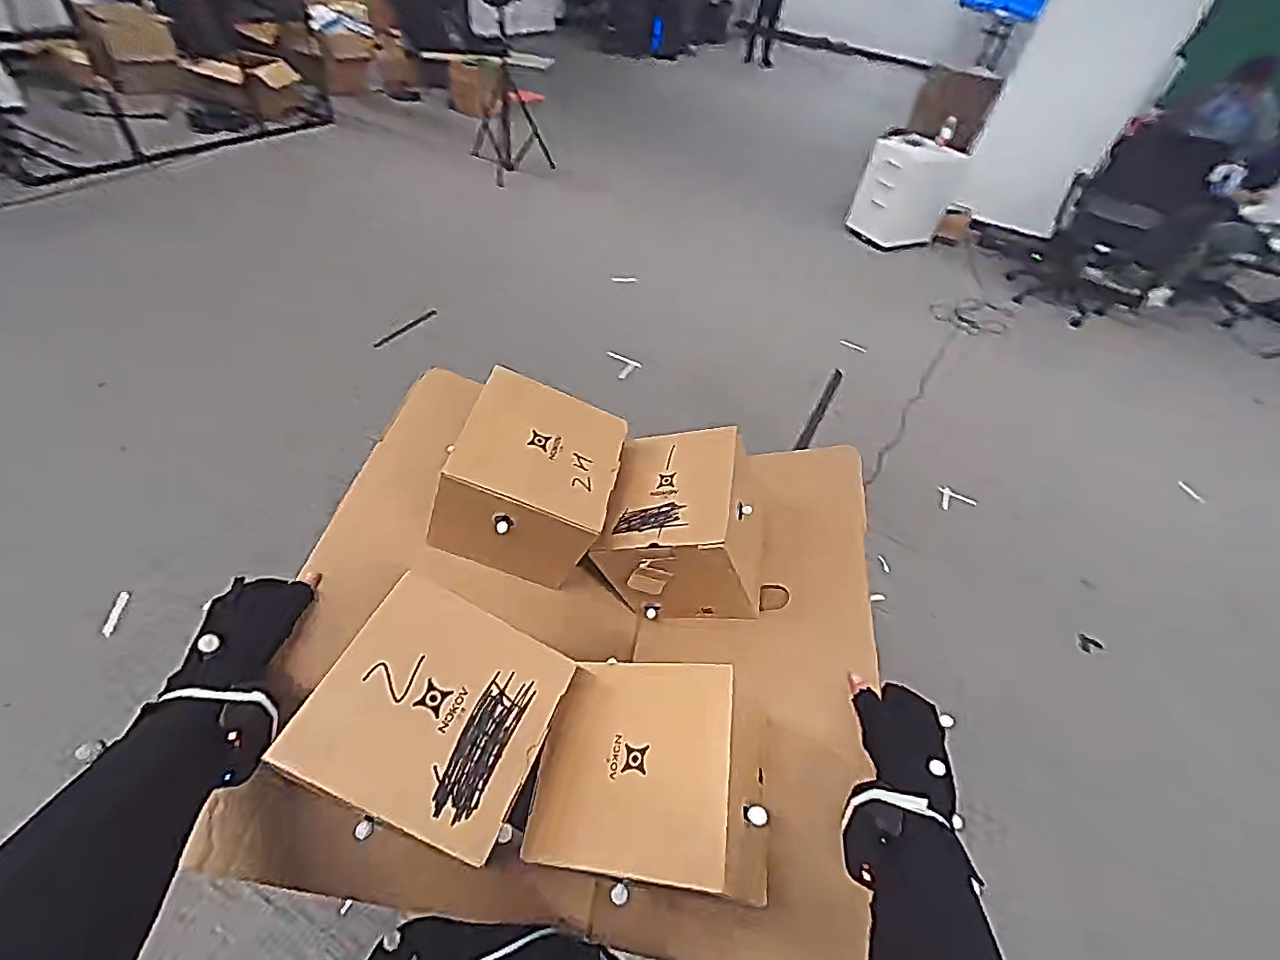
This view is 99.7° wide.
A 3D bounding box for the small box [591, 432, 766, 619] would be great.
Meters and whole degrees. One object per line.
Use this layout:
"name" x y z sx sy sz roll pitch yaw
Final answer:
"small box" 0.062 0.064 0.696 0.168 0.176 0.179 -4 48 24
